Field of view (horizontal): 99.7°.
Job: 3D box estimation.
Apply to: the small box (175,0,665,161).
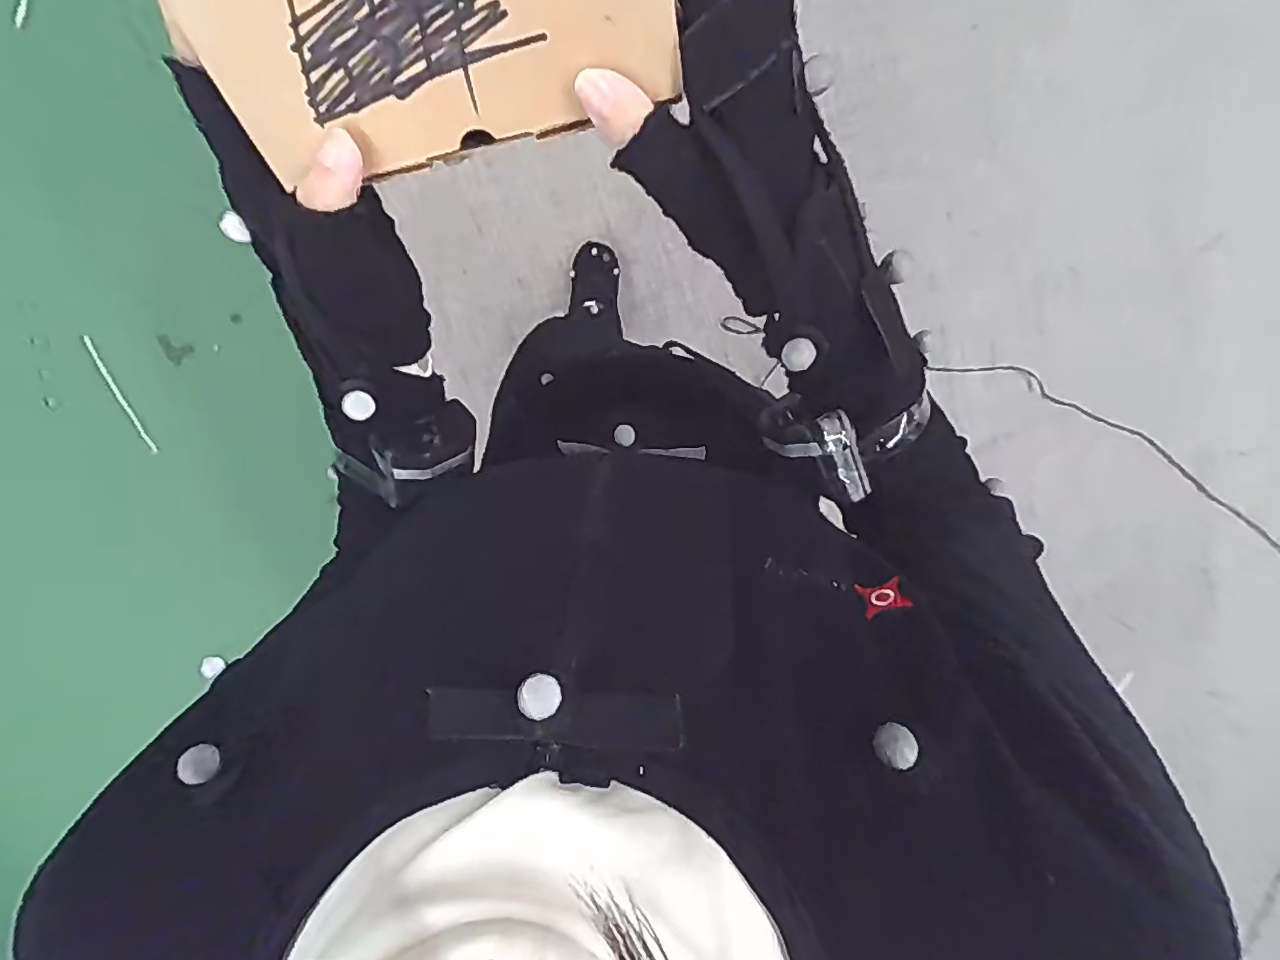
[{"bbox_3d":[-0.086,-0.257,0.205,0.168,0.176,0.179,-10,134,8],"label":"small box"}]
